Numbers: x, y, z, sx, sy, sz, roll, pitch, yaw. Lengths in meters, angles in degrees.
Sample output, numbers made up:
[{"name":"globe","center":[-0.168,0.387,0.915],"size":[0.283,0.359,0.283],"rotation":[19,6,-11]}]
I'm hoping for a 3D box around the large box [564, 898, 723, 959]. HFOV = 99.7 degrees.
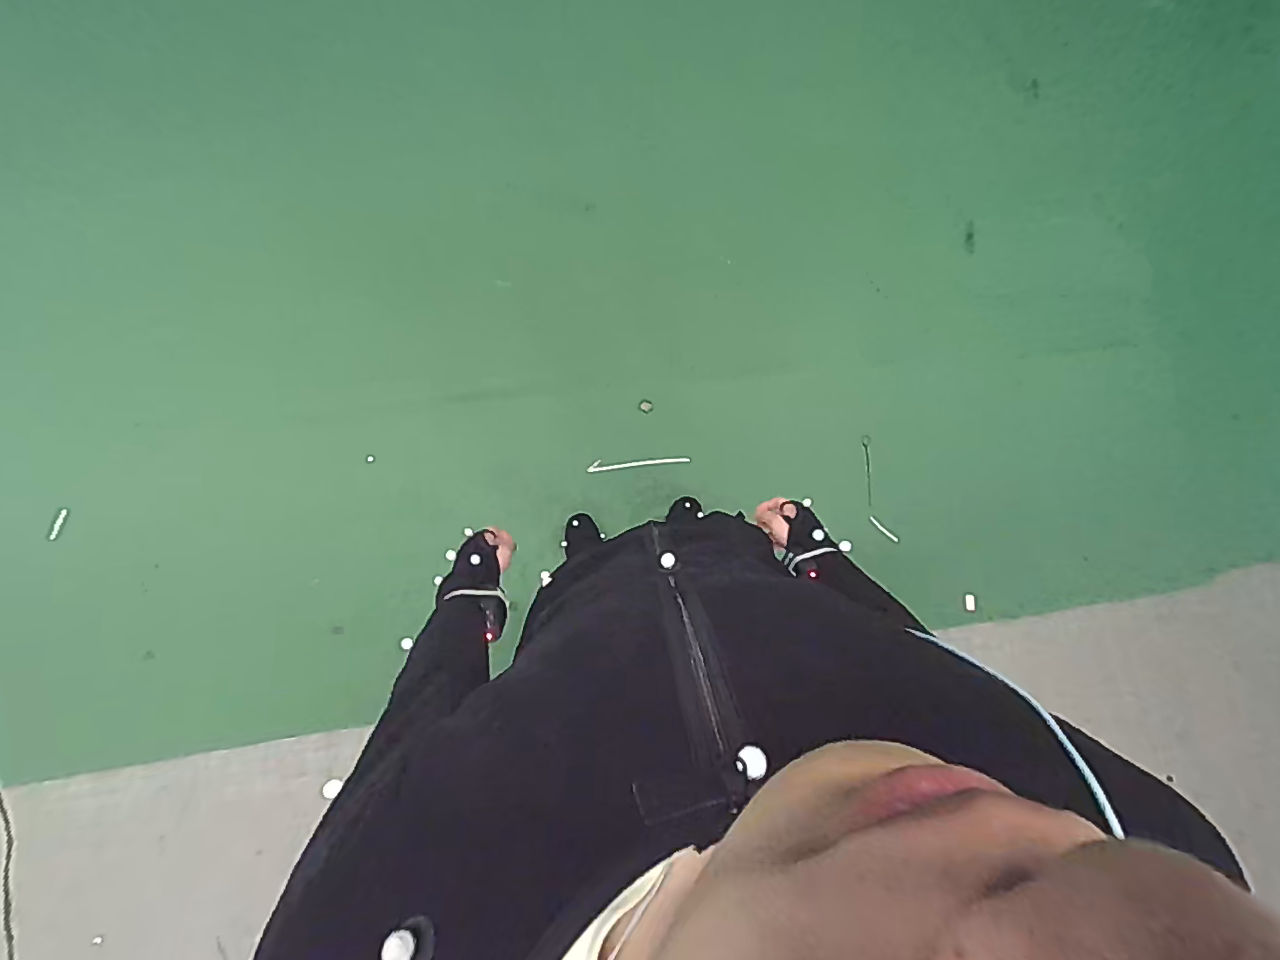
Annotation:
[{"name":"large box","center":[-0.004,1.380,1.424],"size":[0.408,0.320,0.320],"rotation":[12,86,-6]}]
